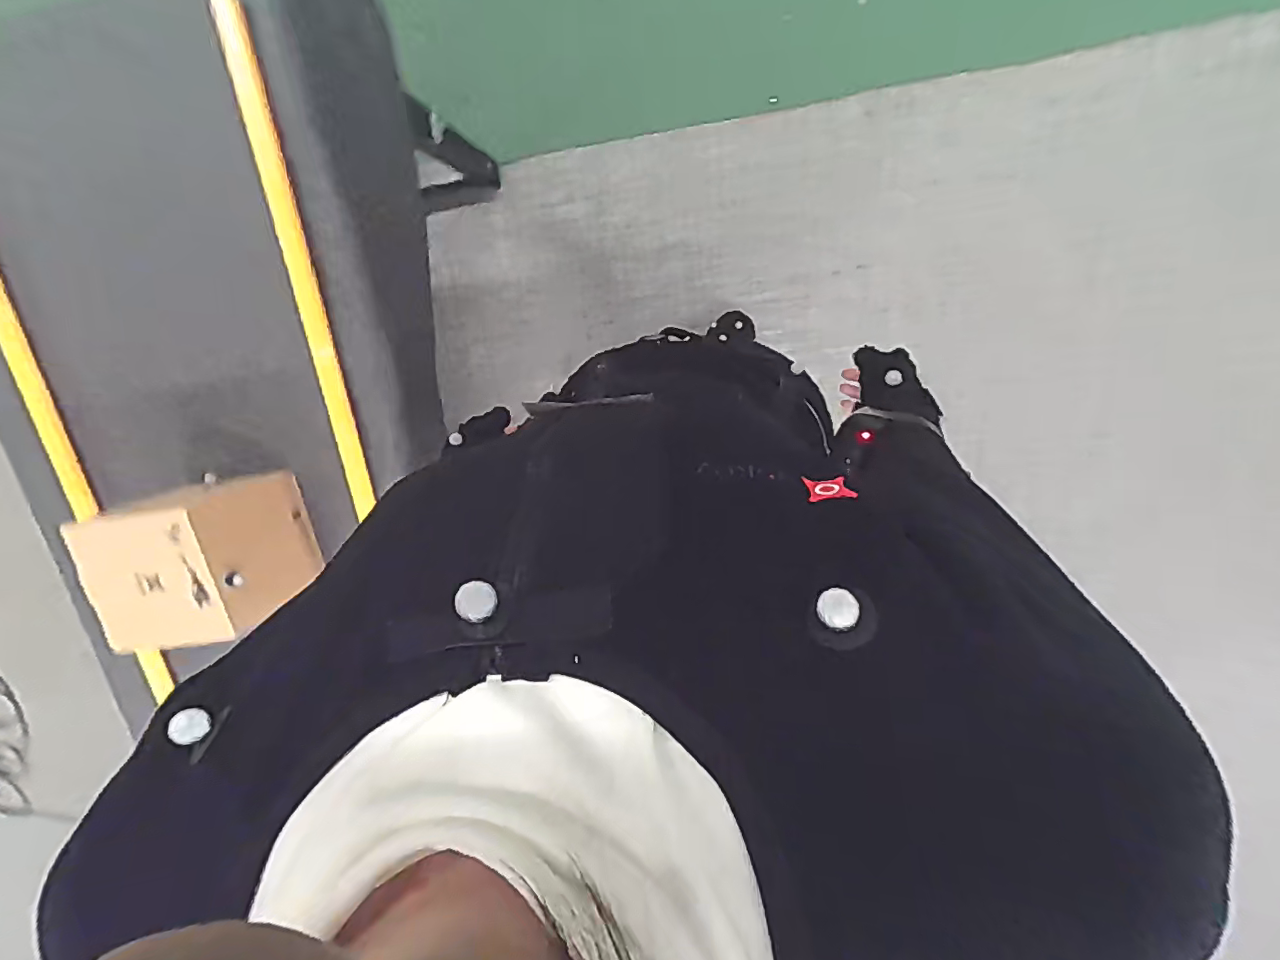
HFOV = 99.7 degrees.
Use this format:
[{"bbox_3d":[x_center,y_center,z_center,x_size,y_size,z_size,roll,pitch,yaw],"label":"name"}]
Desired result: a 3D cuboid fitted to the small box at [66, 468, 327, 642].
[{"bbox_3d":[-0.562,0.091,0.710,0.179,0.176,0.168,-8,105,10],"label":"small box"}]
